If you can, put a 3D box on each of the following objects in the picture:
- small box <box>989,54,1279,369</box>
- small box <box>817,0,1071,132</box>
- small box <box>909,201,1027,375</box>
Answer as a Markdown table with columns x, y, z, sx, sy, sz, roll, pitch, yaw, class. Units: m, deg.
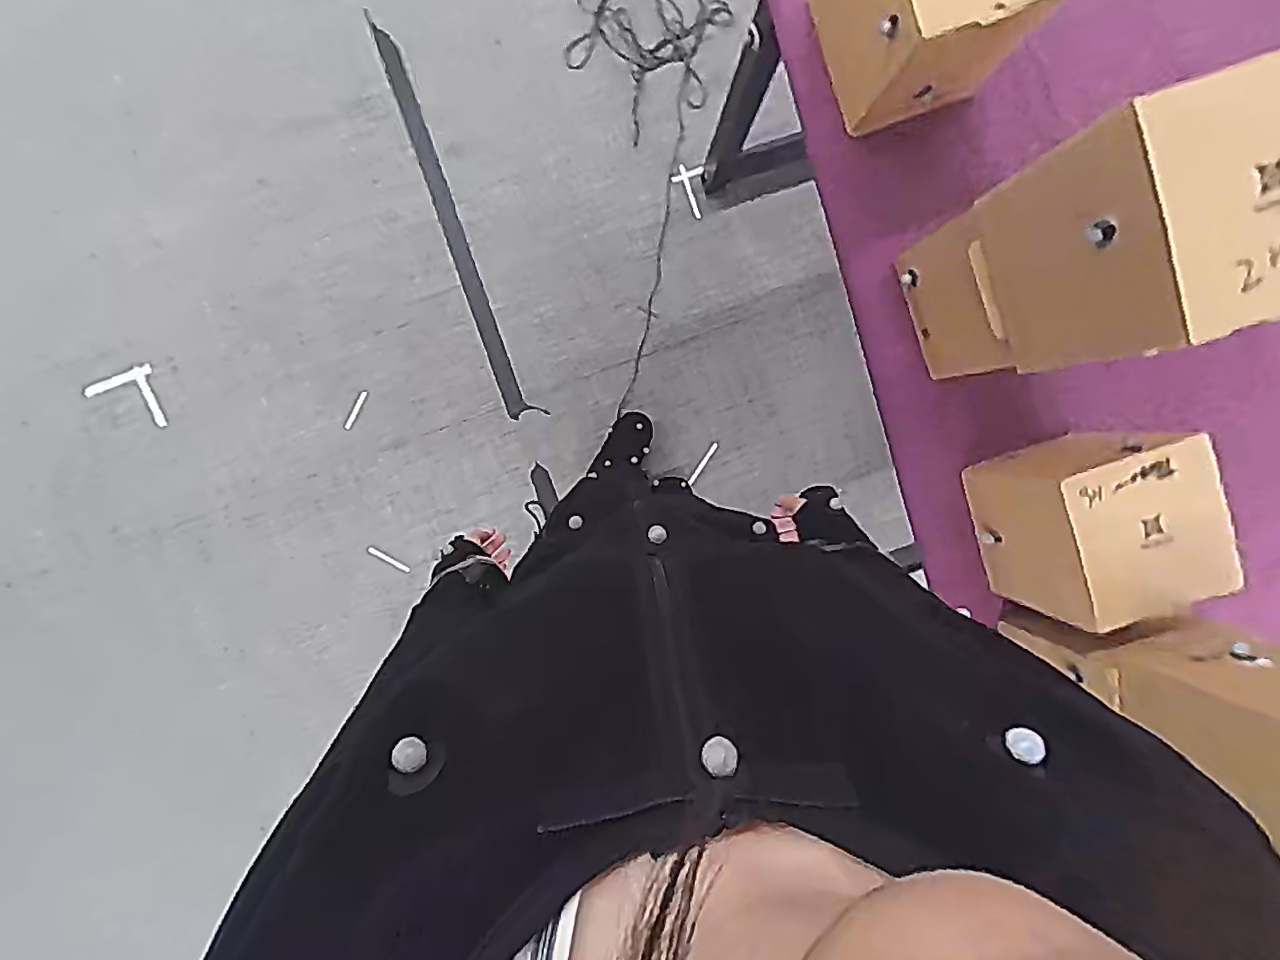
| x | y | z | sx | sy | sz | roll | pitch | yaw | class |
| --- | --- | --- | --- | --- | --- | --- | --- | --- | --- |
| 0.436 | -0.207 | 0.455 | 0.168 | 0.176 | 0.179 | -18 | 96 | -1 | small box |
| 0.317 | -0.530 | 0.588 | 0.168 | 0.176 | 0.179 | -20 | 96 | -1 | small box |
| 0.440 | -0.230 | 0.619 | 0.179 | 0.176 | 0.168 | -21 | 96 | -2 | small box |
